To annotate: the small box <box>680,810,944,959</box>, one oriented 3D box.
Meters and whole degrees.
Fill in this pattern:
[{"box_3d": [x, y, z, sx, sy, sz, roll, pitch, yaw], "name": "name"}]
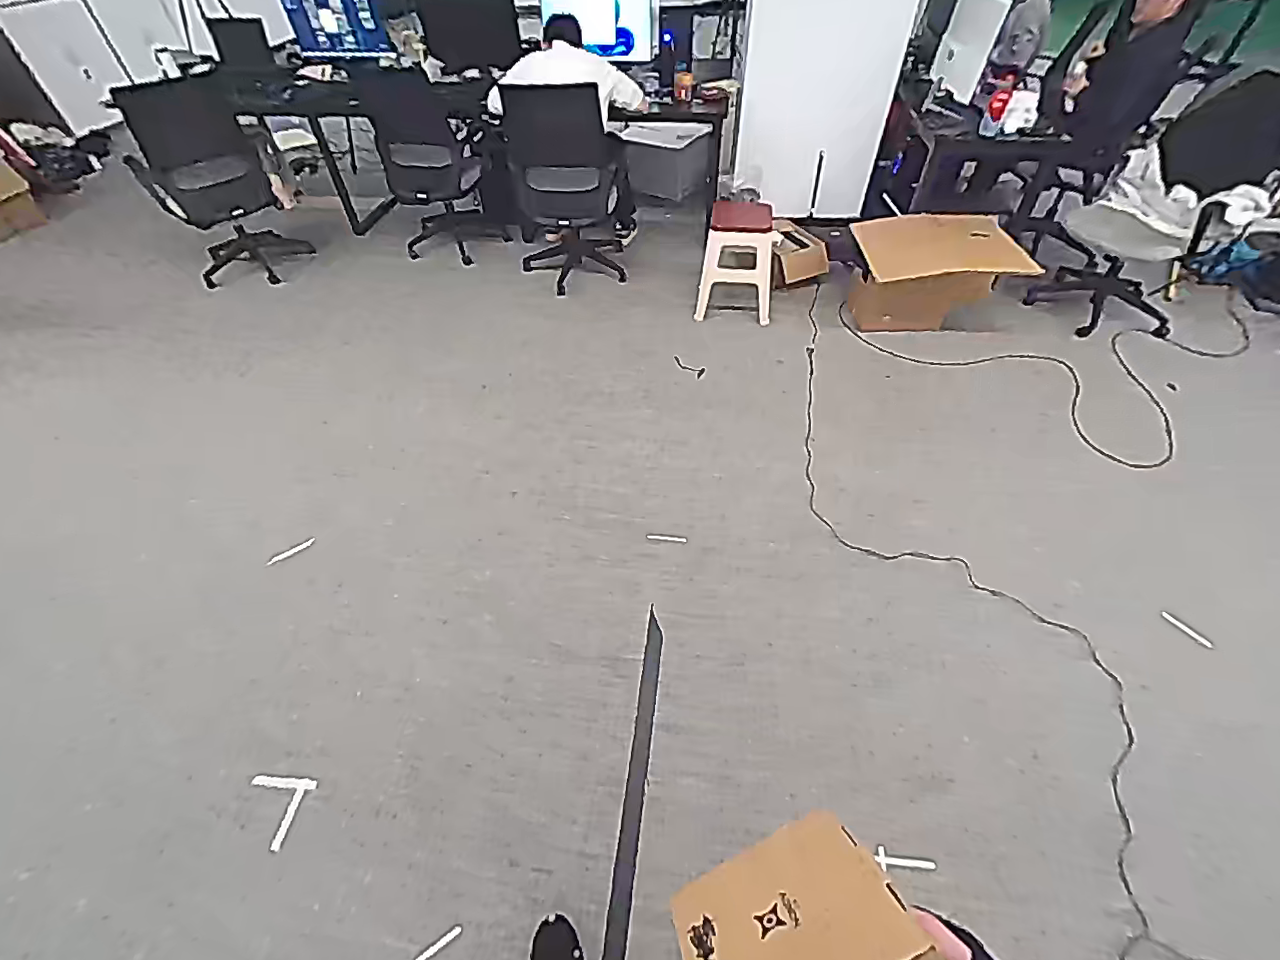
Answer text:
[{"box_3d": [0.156, 0.435, 0.450, 0.179, 0.168, 0.176, -25, 90, -6], "name": "small box"}]
